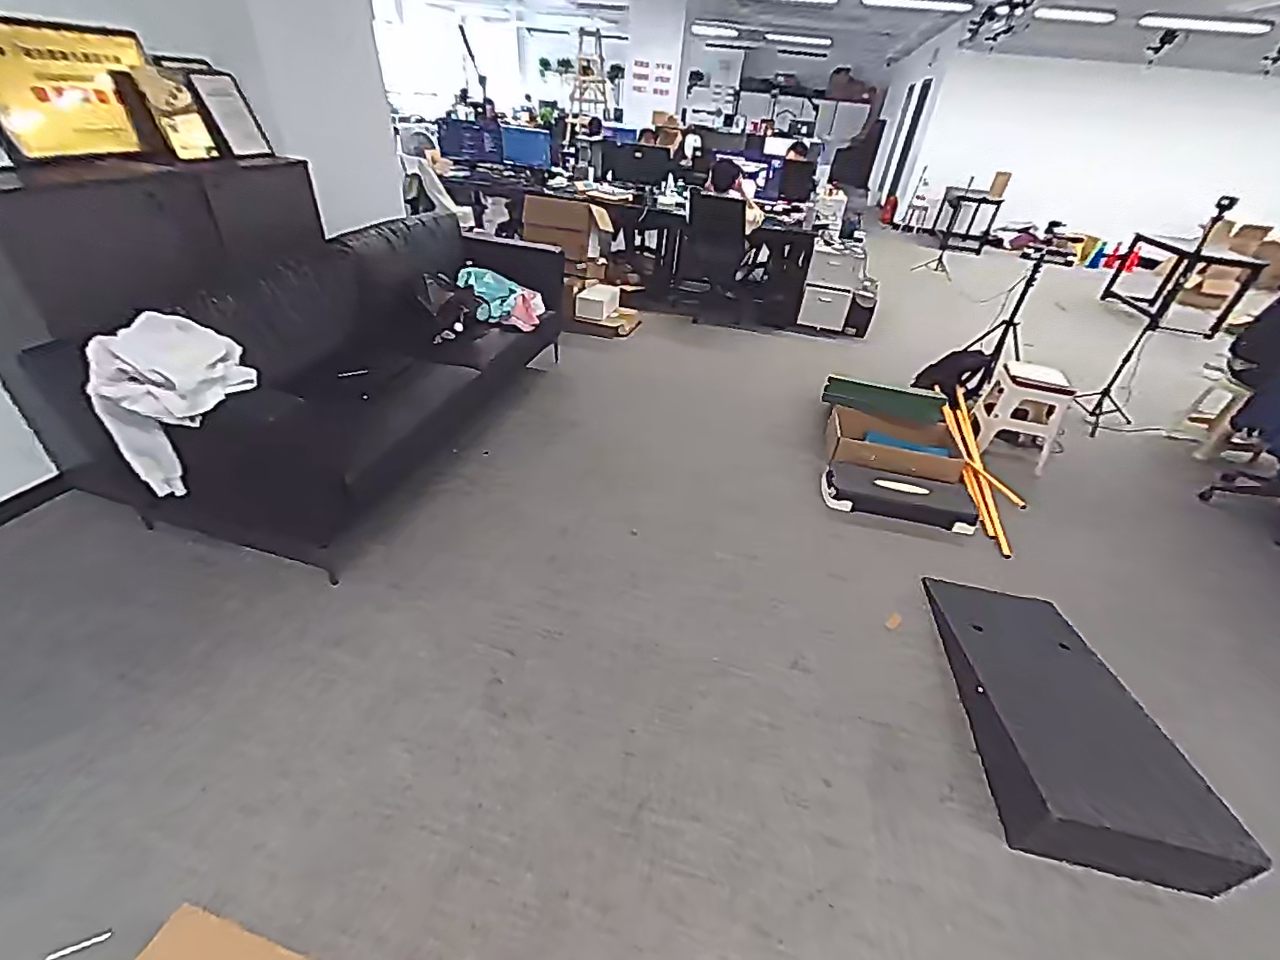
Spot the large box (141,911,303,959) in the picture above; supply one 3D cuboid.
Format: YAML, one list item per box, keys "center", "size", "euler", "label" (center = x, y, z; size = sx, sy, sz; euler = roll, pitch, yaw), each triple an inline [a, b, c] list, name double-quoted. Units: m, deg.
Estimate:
- center: [-0.630, 0.966, 0.836]
  size: [0.408, 0.320, 0.320]
  euler: [13, 35, 12]
  label: "large box"
